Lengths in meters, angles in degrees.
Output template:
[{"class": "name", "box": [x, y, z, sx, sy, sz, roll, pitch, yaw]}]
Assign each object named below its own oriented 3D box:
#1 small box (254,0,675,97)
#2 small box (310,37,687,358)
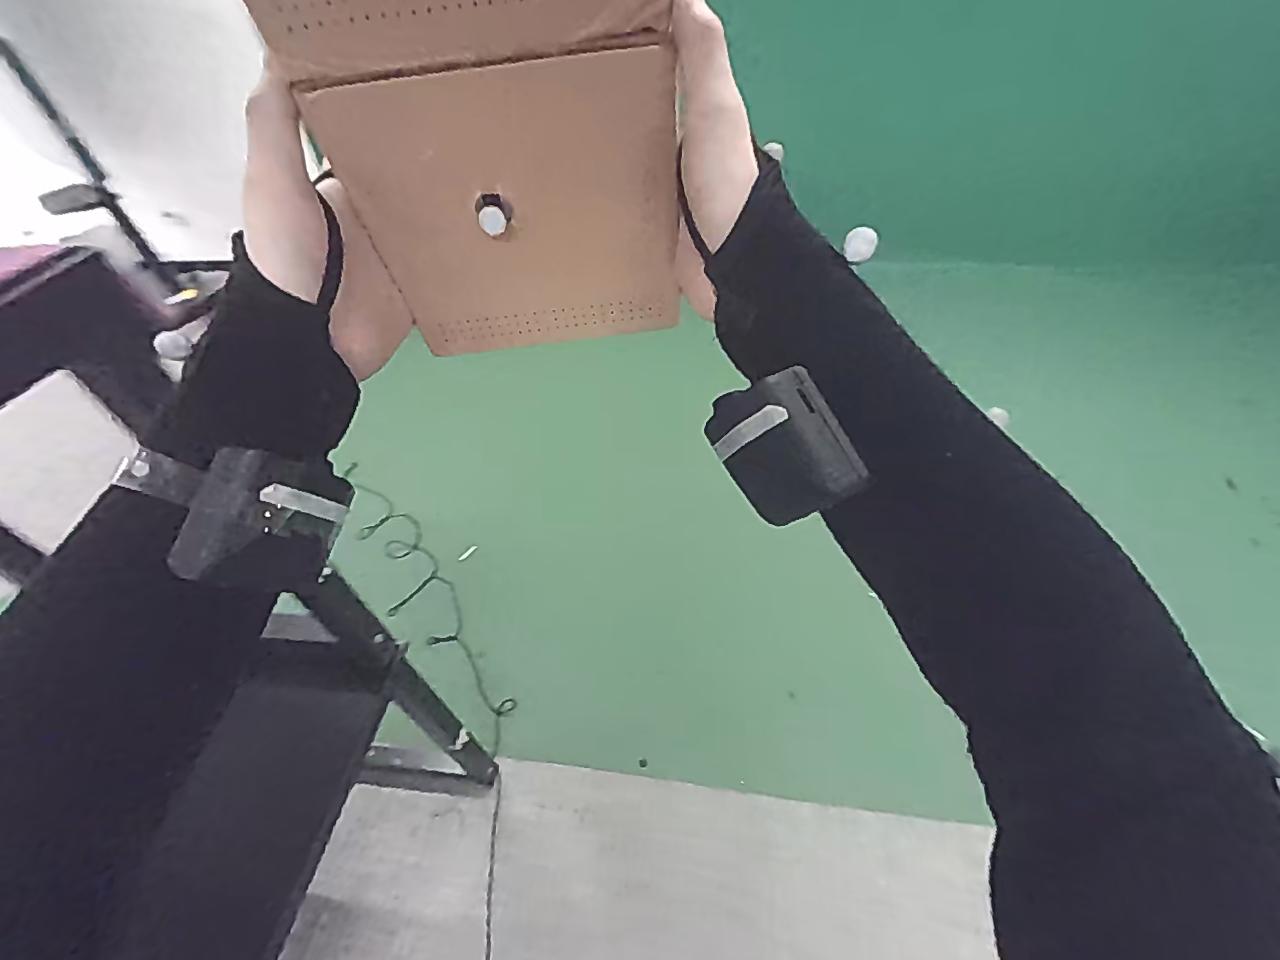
[{"class": "small box", "box": [-0.085, -0.288, 0.222, 0.179, 0.176, 0.168, -8, 58, 1]}, {"class": "small box", "box": [-0.068, -0.200, 0.358, 0.179, 0.176, 0.168, -8, 57, 2]}]
